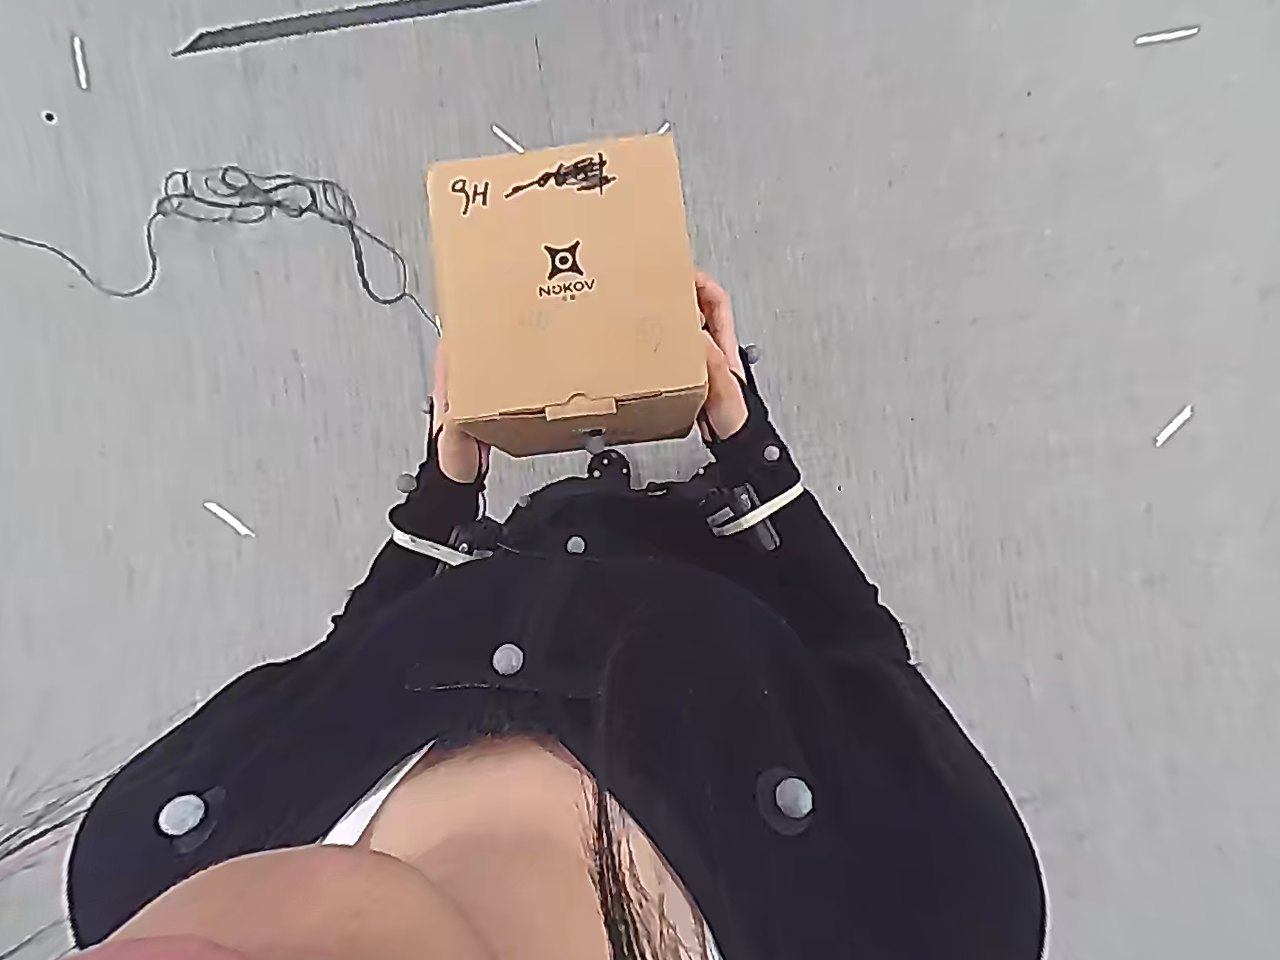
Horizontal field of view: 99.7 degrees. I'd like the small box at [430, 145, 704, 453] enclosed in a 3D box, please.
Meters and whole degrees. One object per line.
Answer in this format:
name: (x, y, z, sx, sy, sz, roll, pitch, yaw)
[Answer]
small box: (-0.046, -0.118, 0.425, 0.168, 0.176, 0.179, -7, 85, 0)
